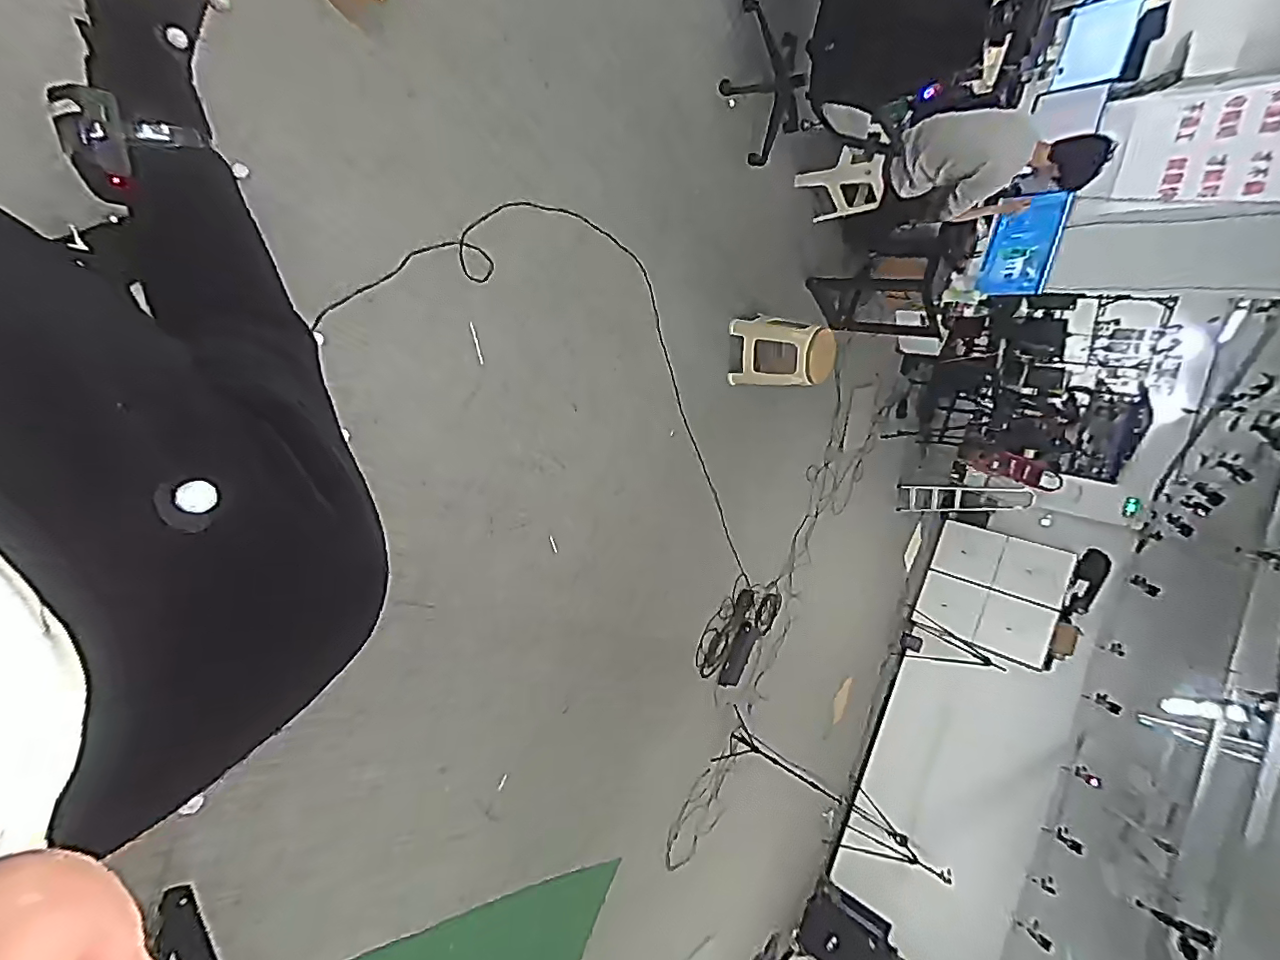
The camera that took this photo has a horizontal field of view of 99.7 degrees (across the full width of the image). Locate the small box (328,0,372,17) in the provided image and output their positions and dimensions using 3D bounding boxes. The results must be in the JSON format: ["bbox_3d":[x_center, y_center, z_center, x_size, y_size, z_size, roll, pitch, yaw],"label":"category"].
[{"bbox_3d":[-0.651,-1.179,1.186,0.179,0.176,0.168,36,78,-50],"label":"small box"}]
